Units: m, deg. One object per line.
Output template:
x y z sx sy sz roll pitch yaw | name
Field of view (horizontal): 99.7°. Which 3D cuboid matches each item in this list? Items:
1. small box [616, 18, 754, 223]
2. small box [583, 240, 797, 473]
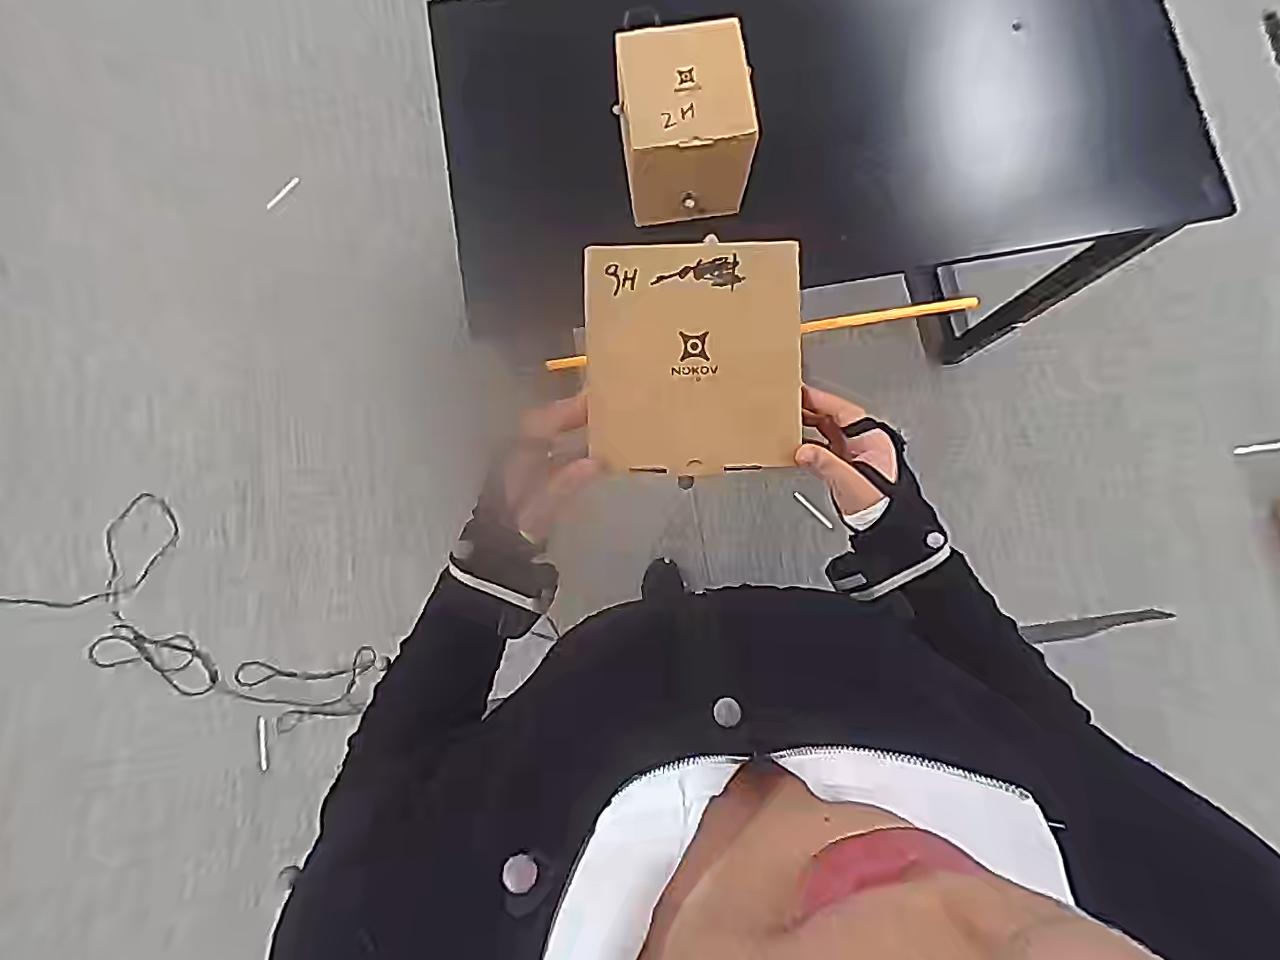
0.058 -0.509 0.786 0.168 0.176 0.179 -8 82 0 | small box
0.041 -0.099 0.496 0.168 0.176 0.179 -1 92 1 | small box
